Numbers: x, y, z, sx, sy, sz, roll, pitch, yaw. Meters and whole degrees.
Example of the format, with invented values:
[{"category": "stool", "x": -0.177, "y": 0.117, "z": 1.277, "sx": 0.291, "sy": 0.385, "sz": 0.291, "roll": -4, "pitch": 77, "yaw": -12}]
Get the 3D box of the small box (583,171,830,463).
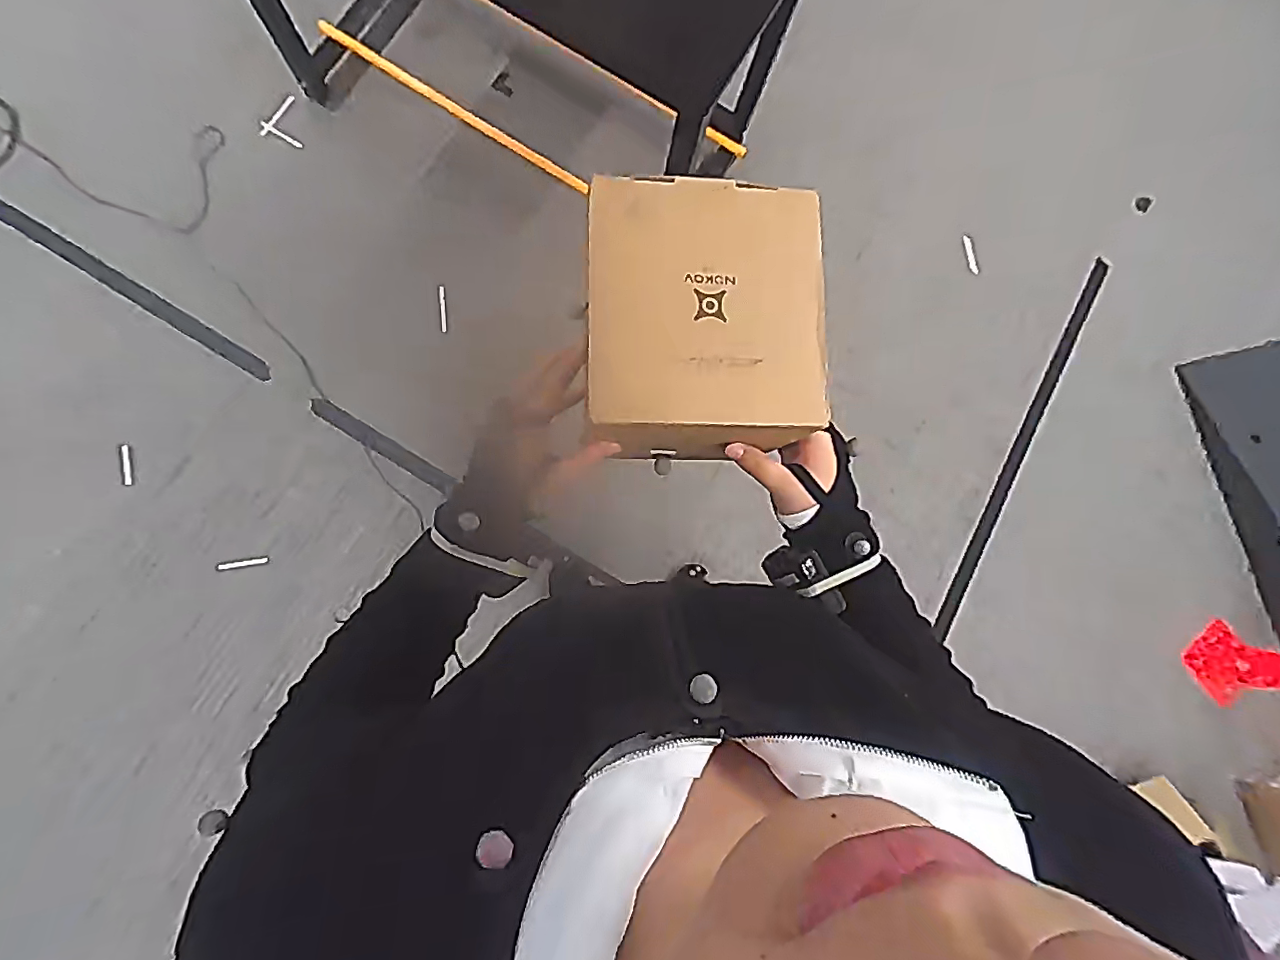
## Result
[{"category": "small box", "x": 0.038, "y": -0.114, "z": 0.445, "sx": 0.168, "sy": 0.176, "sz": 0.179, "roll": 0, "pitch": 84, "yaw": -7}]
